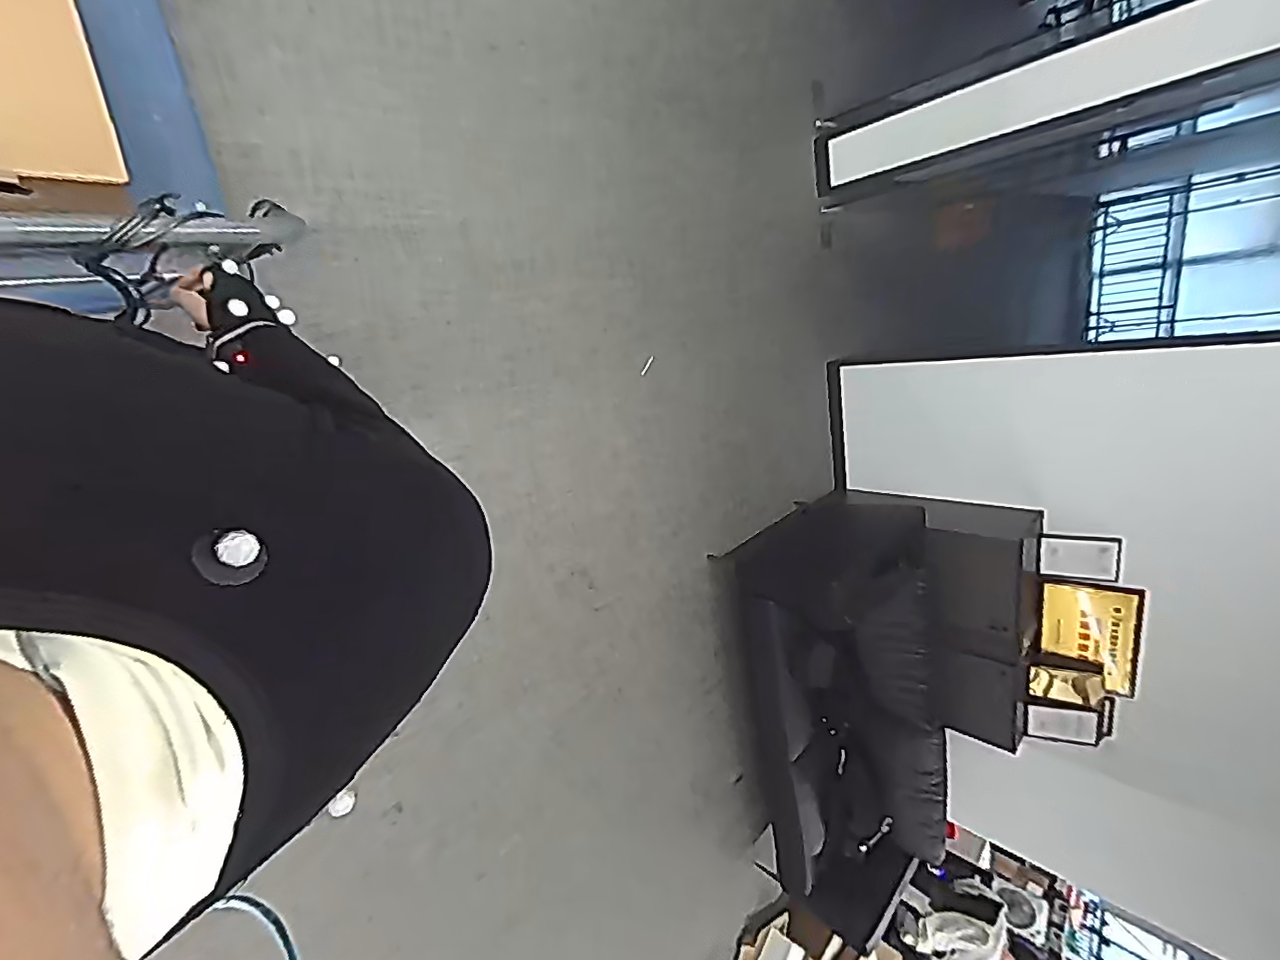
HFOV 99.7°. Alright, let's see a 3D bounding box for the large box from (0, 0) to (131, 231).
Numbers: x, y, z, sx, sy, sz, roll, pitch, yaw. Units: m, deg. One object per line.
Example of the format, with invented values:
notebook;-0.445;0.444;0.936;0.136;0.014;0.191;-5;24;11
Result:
large box;-1.034;-0.620;0.806;0.320;0.320;0.408;-20;108;-41
